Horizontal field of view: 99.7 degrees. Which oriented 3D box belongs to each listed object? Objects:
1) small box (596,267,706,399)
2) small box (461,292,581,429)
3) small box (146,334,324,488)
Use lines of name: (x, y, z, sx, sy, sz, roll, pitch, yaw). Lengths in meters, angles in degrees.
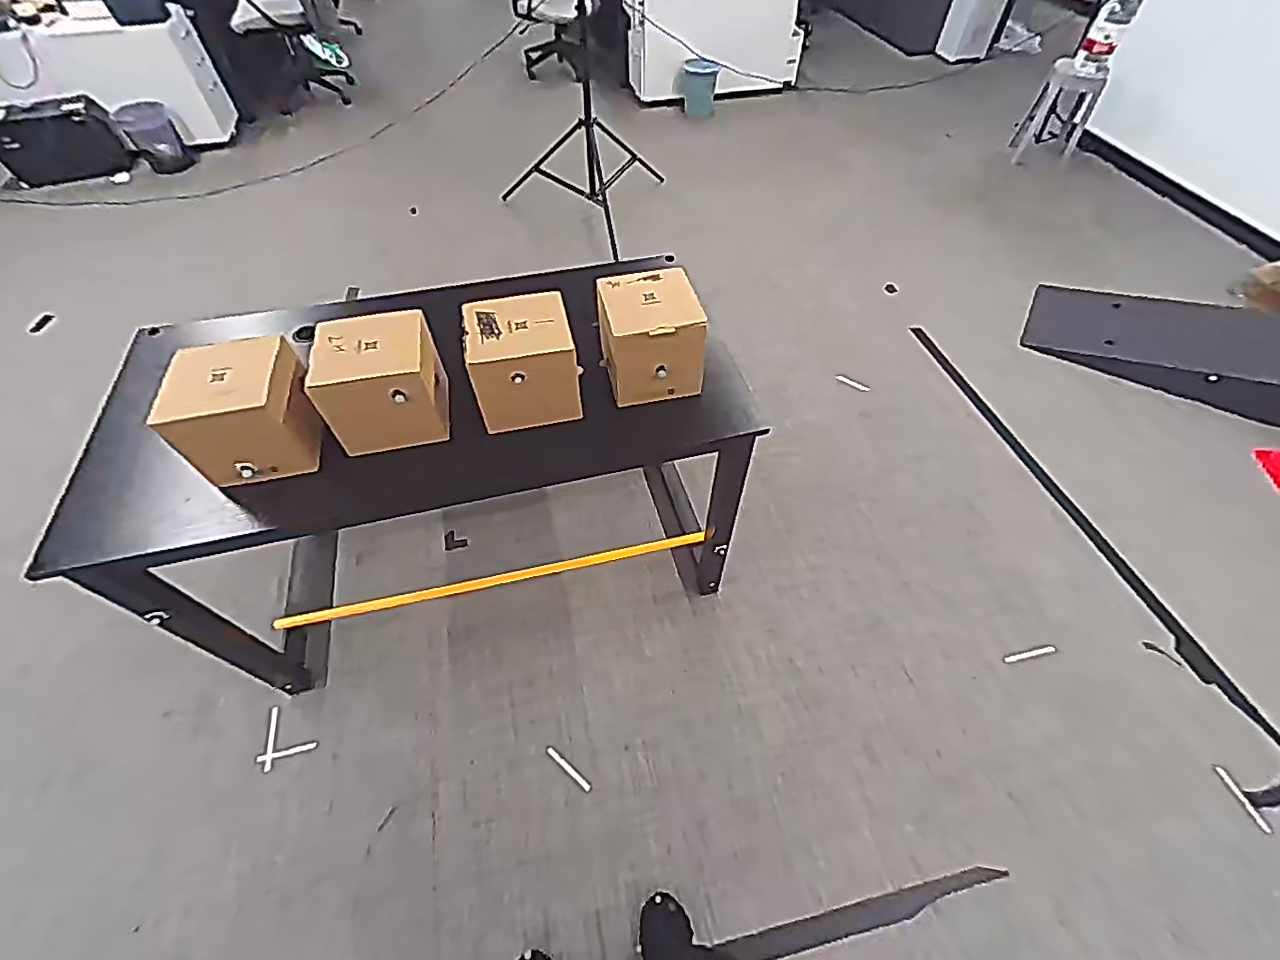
small box: (0.017, -0.267, 1.012, 0.168, 0.176, 0.179, -10, 54, -8)
small box: (-0.210, -0.210, 0.972, 0.179, 0.176, 0.168, -10, 54, -8)
small box: (-0.655, -0.113, 0.904, 0.168, 0.176, 0.179, -13, 55, -7)
